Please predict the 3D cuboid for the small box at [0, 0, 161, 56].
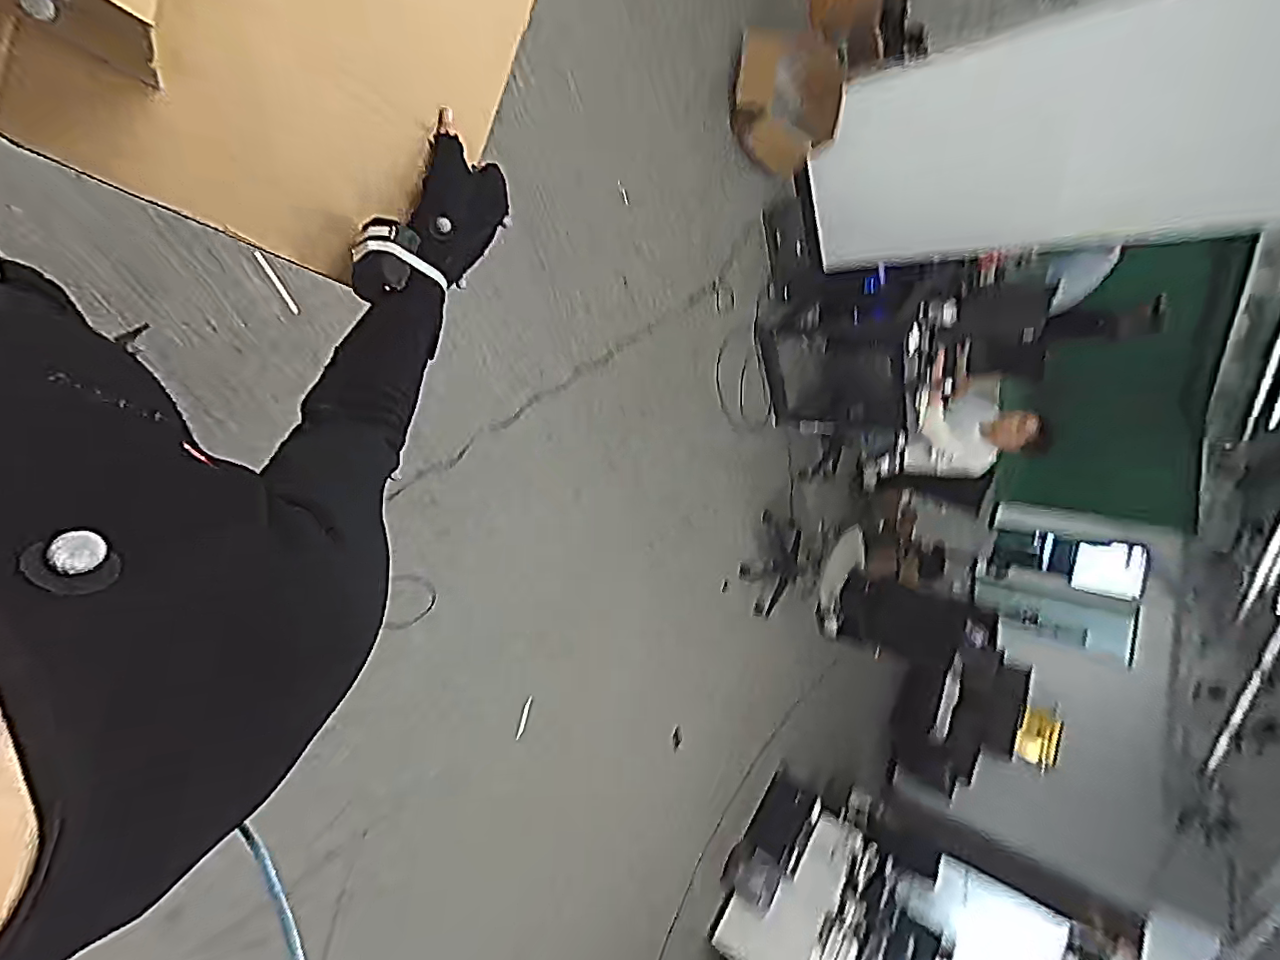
[{"bbox_3d":[-0.345,-0.358,0.270,0.179,0.176,0.168,15,99,-43],"label":"small box"}]
